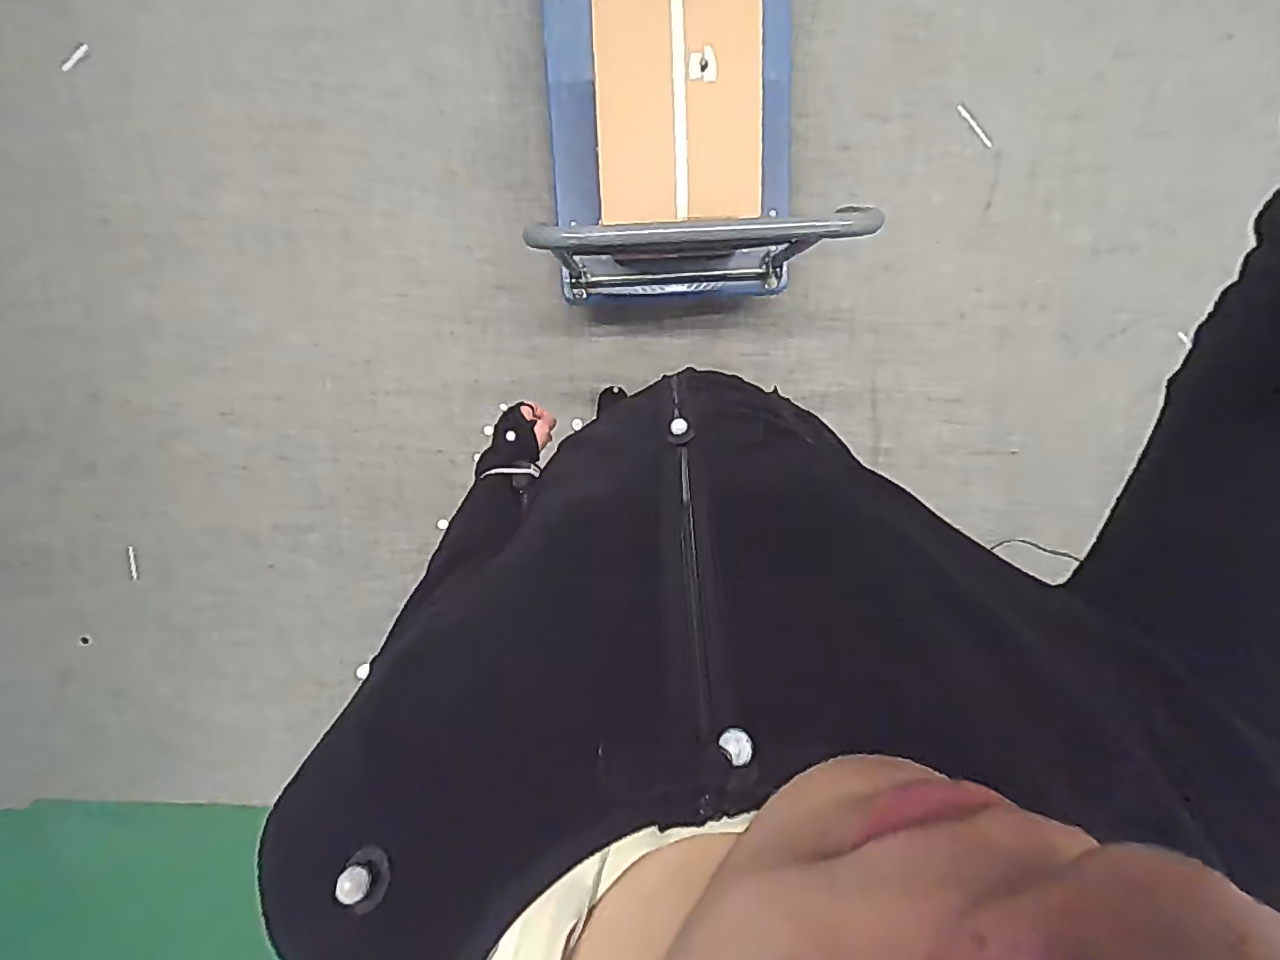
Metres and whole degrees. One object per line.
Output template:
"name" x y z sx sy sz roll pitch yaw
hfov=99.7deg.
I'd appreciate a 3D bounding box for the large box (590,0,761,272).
"large box" 0.075 -0.701 1.173 0.320 0.320 0.408 -2 99 1
